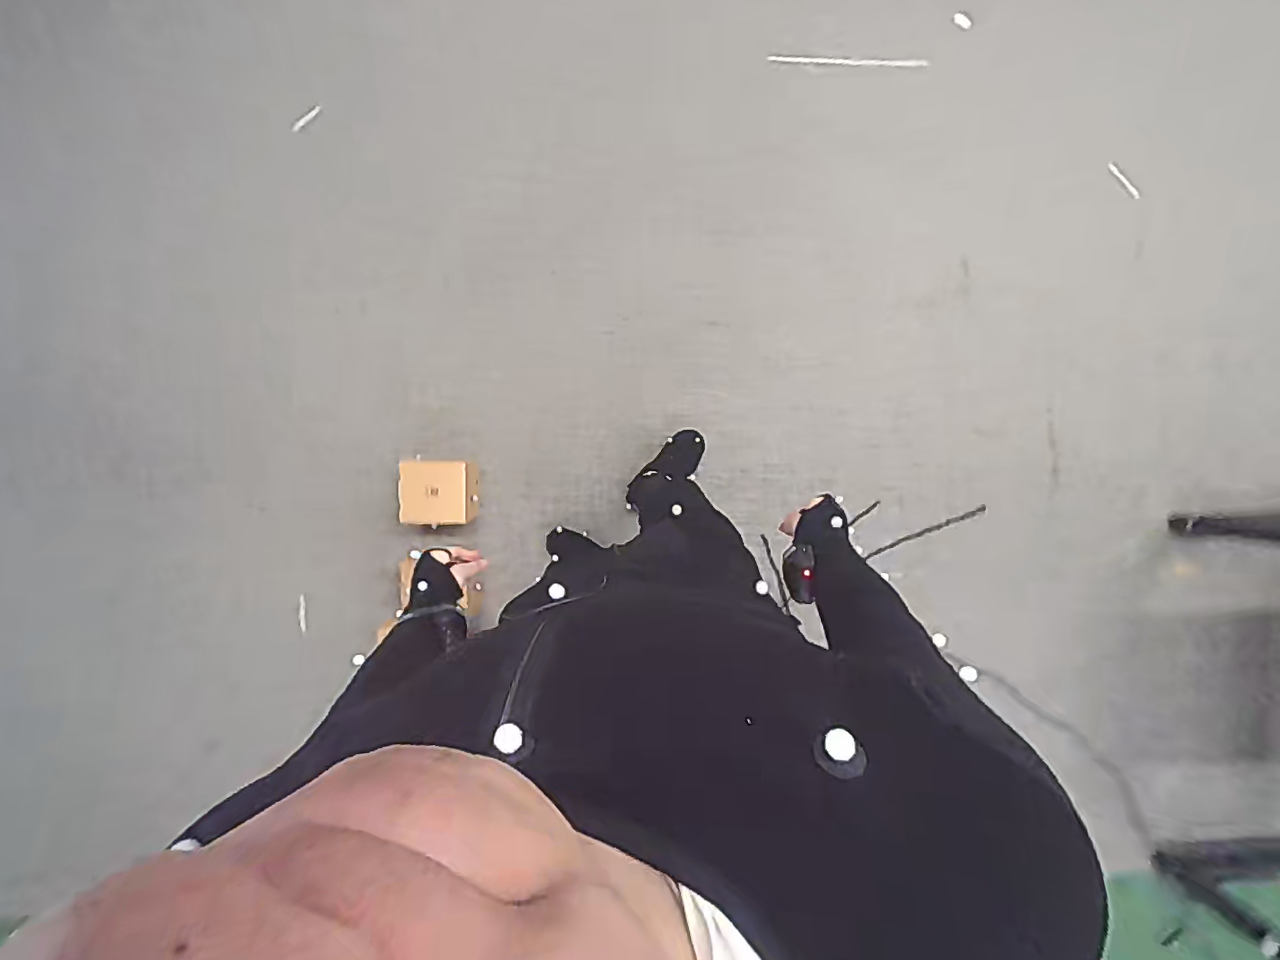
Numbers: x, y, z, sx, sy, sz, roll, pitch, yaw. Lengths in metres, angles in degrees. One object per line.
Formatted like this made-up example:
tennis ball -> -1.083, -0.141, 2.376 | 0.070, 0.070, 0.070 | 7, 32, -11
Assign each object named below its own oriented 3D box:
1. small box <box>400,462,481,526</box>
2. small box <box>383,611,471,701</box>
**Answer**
small box -> -0.548, 0.035, 1.509 | 0.179, 0.176, 0.168 | 0, 93, -2
small box -> -0.532, 0.437, 1.366 | 0.168, 0.176, 0.179 | 1, 94, -3
